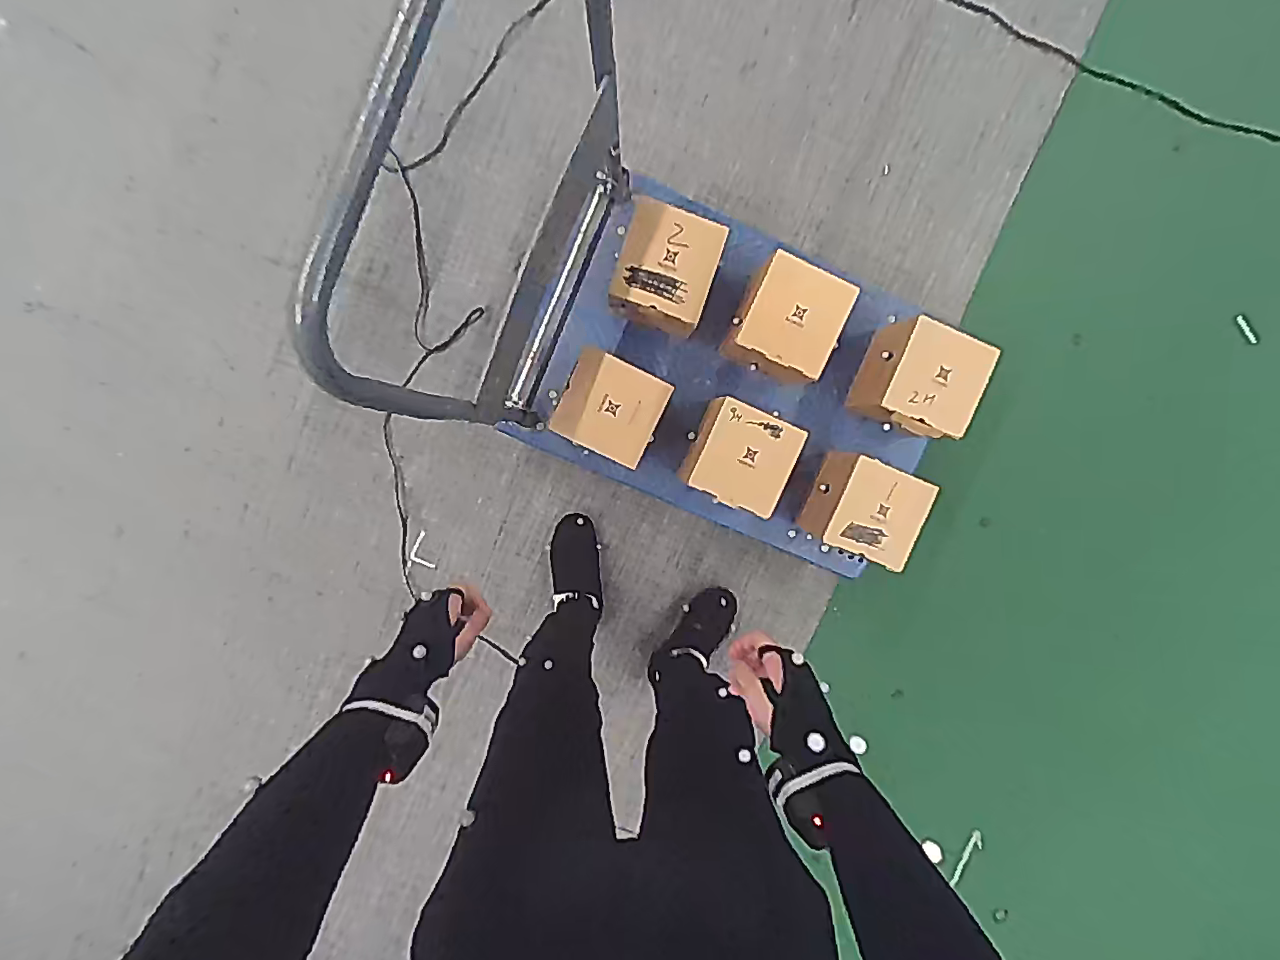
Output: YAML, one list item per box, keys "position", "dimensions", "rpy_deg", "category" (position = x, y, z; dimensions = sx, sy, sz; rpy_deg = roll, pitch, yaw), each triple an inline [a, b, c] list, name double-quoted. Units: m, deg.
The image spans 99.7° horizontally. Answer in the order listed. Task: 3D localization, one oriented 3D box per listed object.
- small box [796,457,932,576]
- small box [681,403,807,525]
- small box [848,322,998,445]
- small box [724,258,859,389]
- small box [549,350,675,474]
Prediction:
- position: [0.436, 0.065, 1.087]
  dimensions: [0.168, 0.176, 0.179]
  rpy_deg: [22, 94, -5]
  category: "small box"
- position: [0.190, -0.036, 1.048]
  dimensions: [0.168, 0.176, 0.179]
  rpy_deg: [24, 94, -6]
  category: "small box"
- position: [0.534, -0.180, 1.049]
  dimensions: [0.168, 0.176, 0.179]
  rpy_deg: [23, 94, -4]
  category: "small box"
- position: [0.275, -0.286, 1.030]
  dimensions: [0.168, 0.176, 0.179]
  rpy_deg: [24, 96, -5]
  category: "small box"
- position: [-0.054, -0.124, 1.029]
  dimensions: [0.179, 0.176, 0.168]
  rpy_deg: [26, 94, -6]
  category: "small box"
